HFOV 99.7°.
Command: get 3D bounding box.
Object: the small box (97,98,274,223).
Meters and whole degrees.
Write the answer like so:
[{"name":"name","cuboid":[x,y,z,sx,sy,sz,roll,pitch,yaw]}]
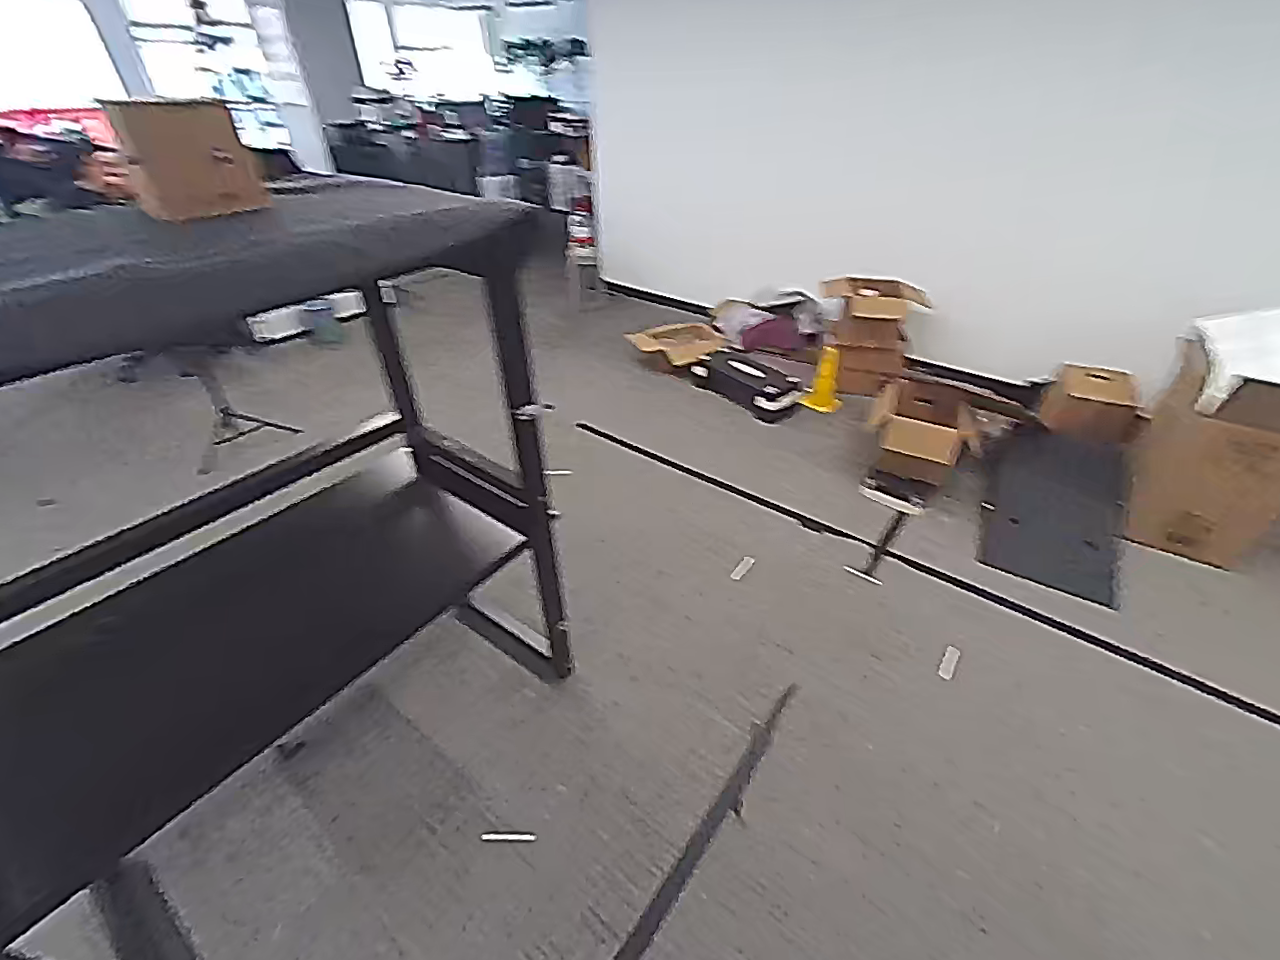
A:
[{"name":"small box","cuboid":[-0.774,-0.552,0.934,0.179,0.176,0.168,29,45,33]}]
